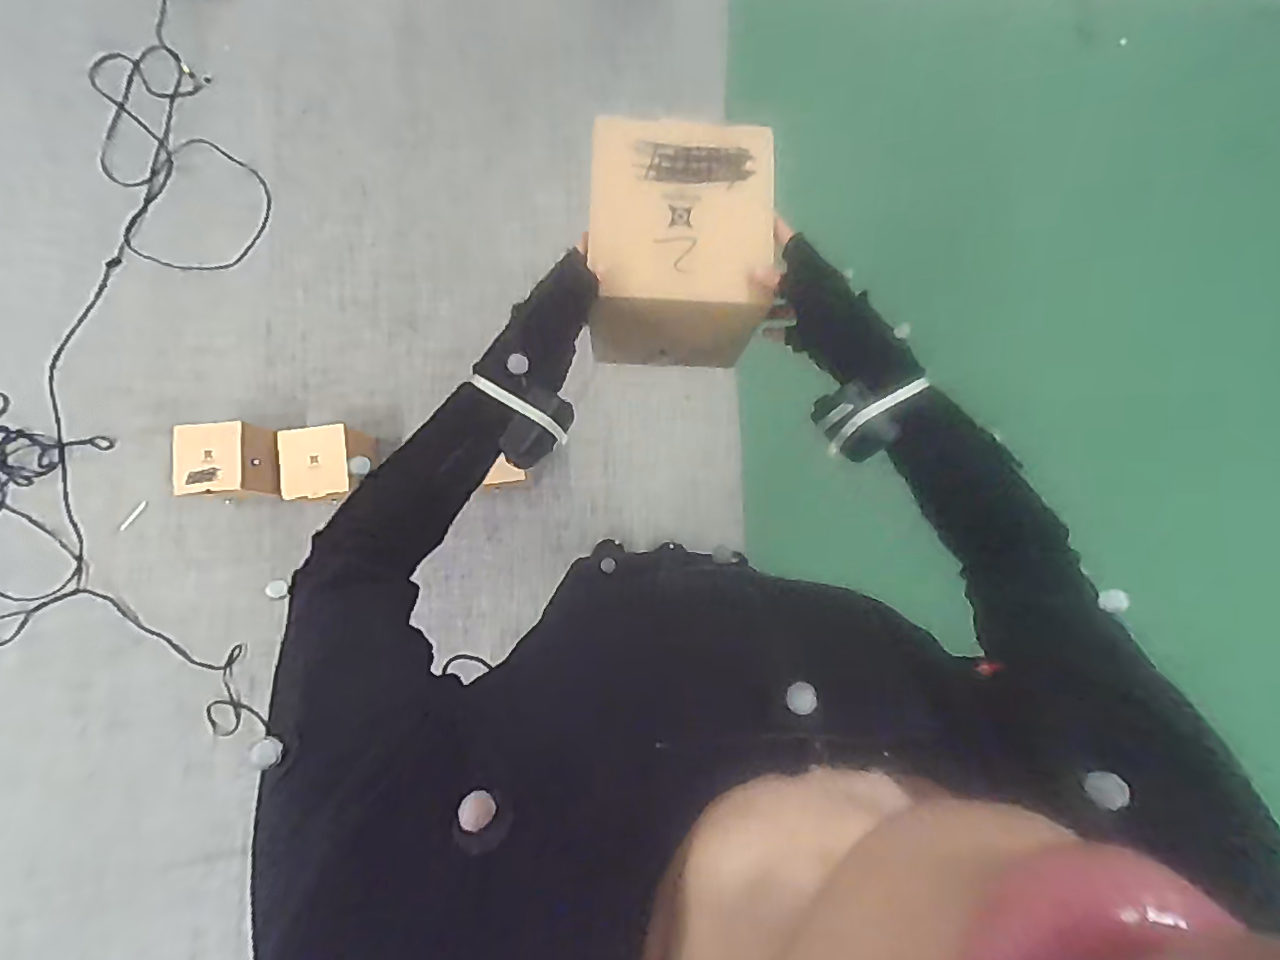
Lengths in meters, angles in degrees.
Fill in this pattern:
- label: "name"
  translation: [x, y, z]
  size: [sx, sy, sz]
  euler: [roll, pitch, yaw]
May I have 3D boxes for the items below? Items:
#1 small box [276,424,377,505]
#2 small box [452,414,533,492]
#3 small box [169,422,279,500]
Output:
- label: "small box"
  translation: [-0.807, -0.036, 1.403]
  size: [0.168, 0.176, 0.179]
  euler: [-8, 85, -2]
- label: "small box"
  translation: [-0.381, -0.063, 1.422]
  size: [0.168, 0.176, 0.179]
  euler: [-7, 84, -4]
- label: "small box"
  translation: [-1.062, -0.043, 1.393]
  size: [0.168, 0.176, 0.179]
  euler: [-5, 83, -3]
